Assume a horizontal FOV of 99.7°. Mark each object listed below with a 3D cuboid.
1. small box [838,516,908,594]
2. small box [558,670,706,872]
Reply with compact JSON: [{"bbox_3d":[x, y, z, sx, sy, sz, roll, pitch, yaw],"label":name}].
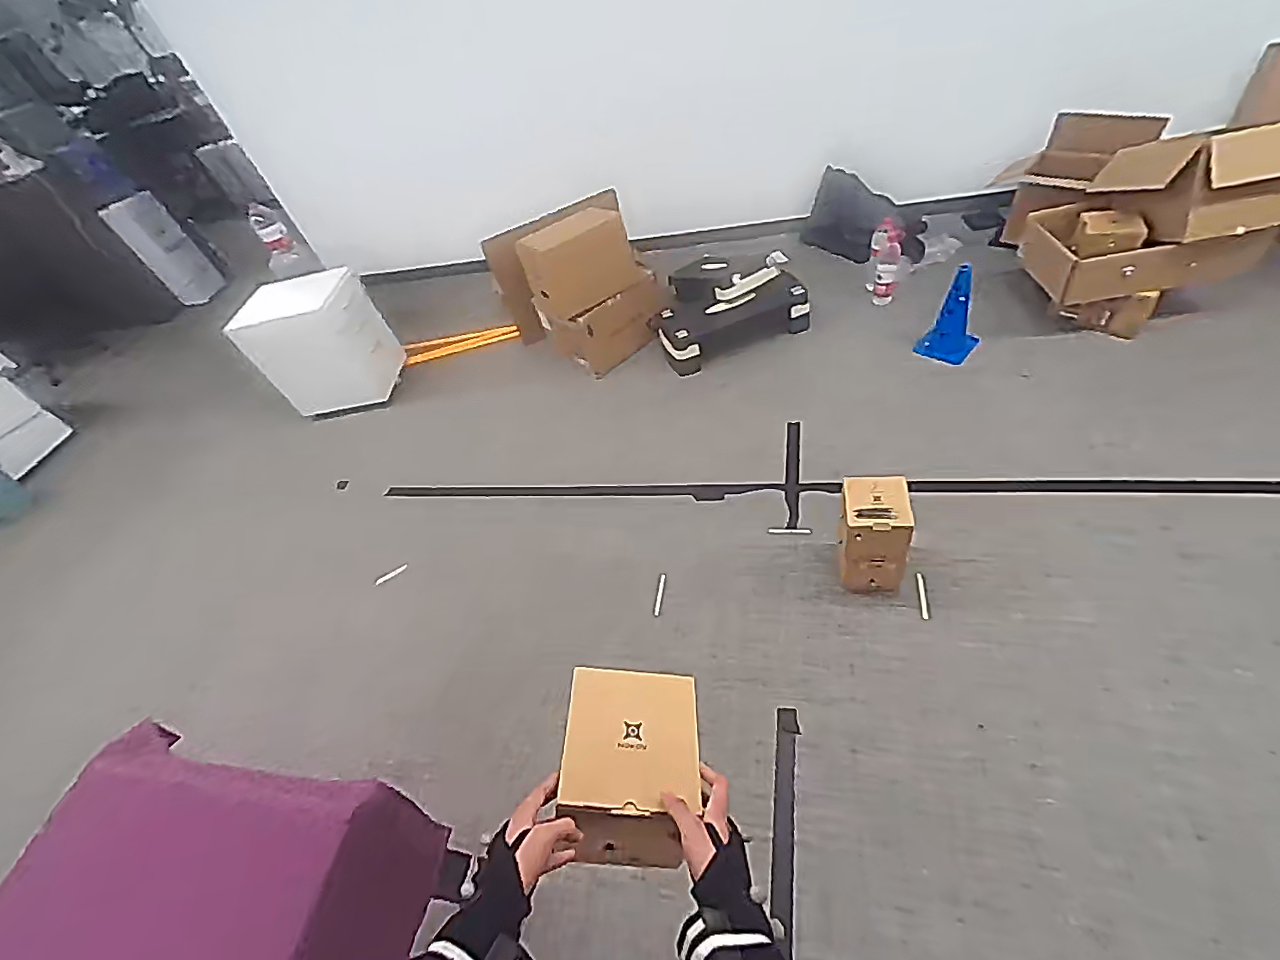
[{"bbox_3d":[0.703,0.229,1.649,0.168,0.176,0.179,-2,50,14],"label":"small box"},{"bbox_3d":[-0.014,0.380,0.711,0.168,0.176,0.179,7,39,-3],"label":"small box"}]
